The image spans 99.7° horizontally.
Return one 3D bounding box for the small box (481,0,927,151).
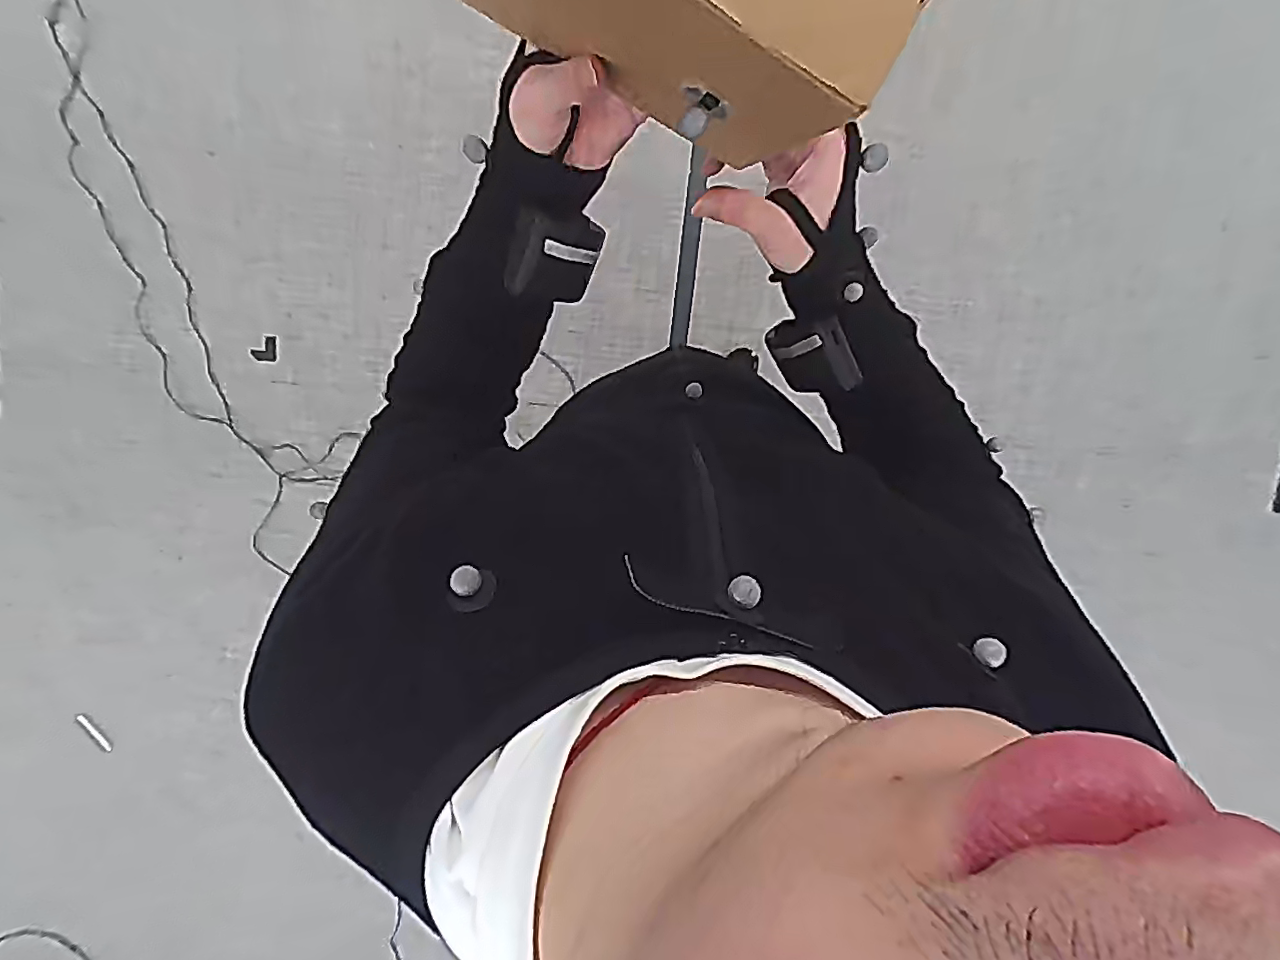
[{"bbox_3d":[0.030,-0.260,0.213,0.179,0.176,0.168,23,109,-15],"label":"small box"}]
